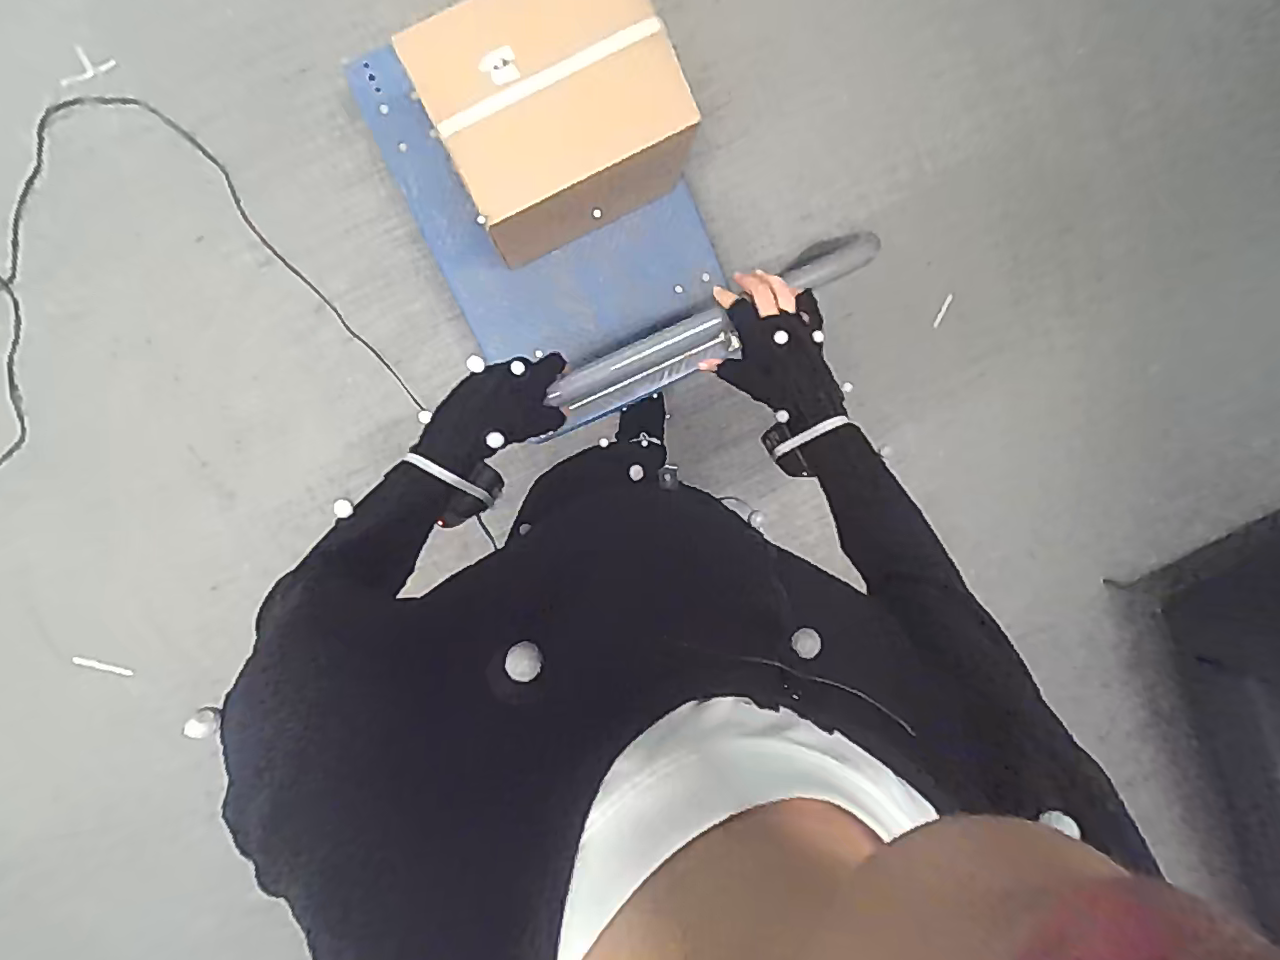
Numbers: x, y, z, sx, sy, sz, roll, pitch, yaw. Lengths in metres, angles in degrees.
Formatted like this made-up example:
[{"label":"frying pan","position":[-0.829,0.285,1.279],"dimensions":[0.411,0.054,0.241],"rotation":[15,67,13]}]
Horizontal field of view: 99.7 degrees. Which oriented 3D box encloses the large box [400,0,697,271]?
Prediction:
[{"label":"large box","position":[-0.155,-0.661,1.032],"dimensions":[0.408,0.320,0.320],"rotation":[-27,98,-1]}]
